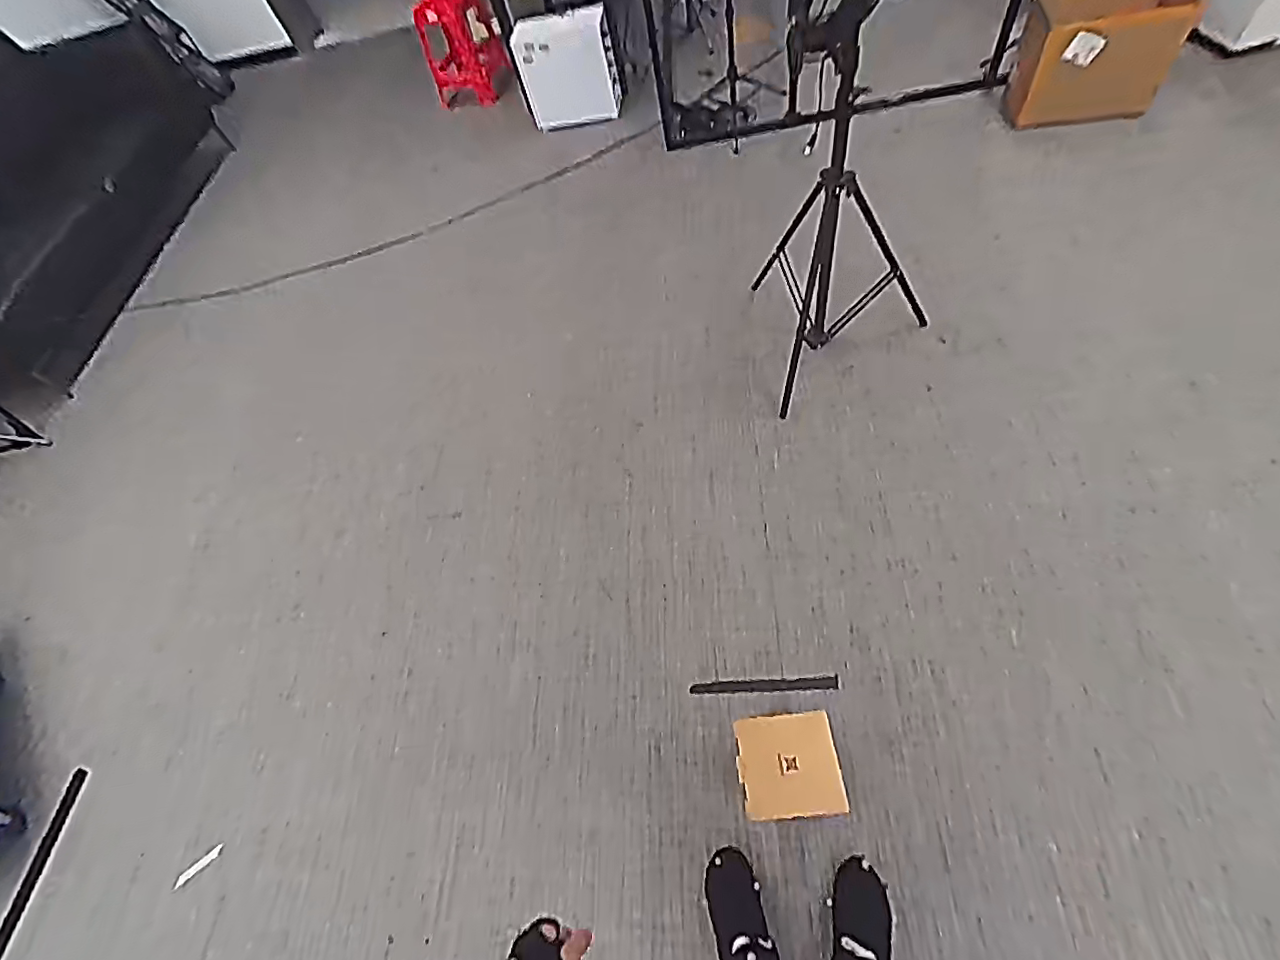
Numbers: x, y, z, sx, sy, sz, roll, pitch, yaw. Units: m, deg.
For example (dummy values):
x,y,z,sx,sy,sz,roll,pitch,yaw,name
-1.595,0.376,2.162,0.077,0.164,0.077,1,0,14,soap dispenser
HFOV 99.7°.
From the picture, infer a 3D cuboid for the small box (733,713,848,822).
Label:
x,y,z,sx,sy,sz,roll,pitch,yaw,name
0.281,0.552,1.042,0.179,0.176,0.168,-11,59,8,small box
